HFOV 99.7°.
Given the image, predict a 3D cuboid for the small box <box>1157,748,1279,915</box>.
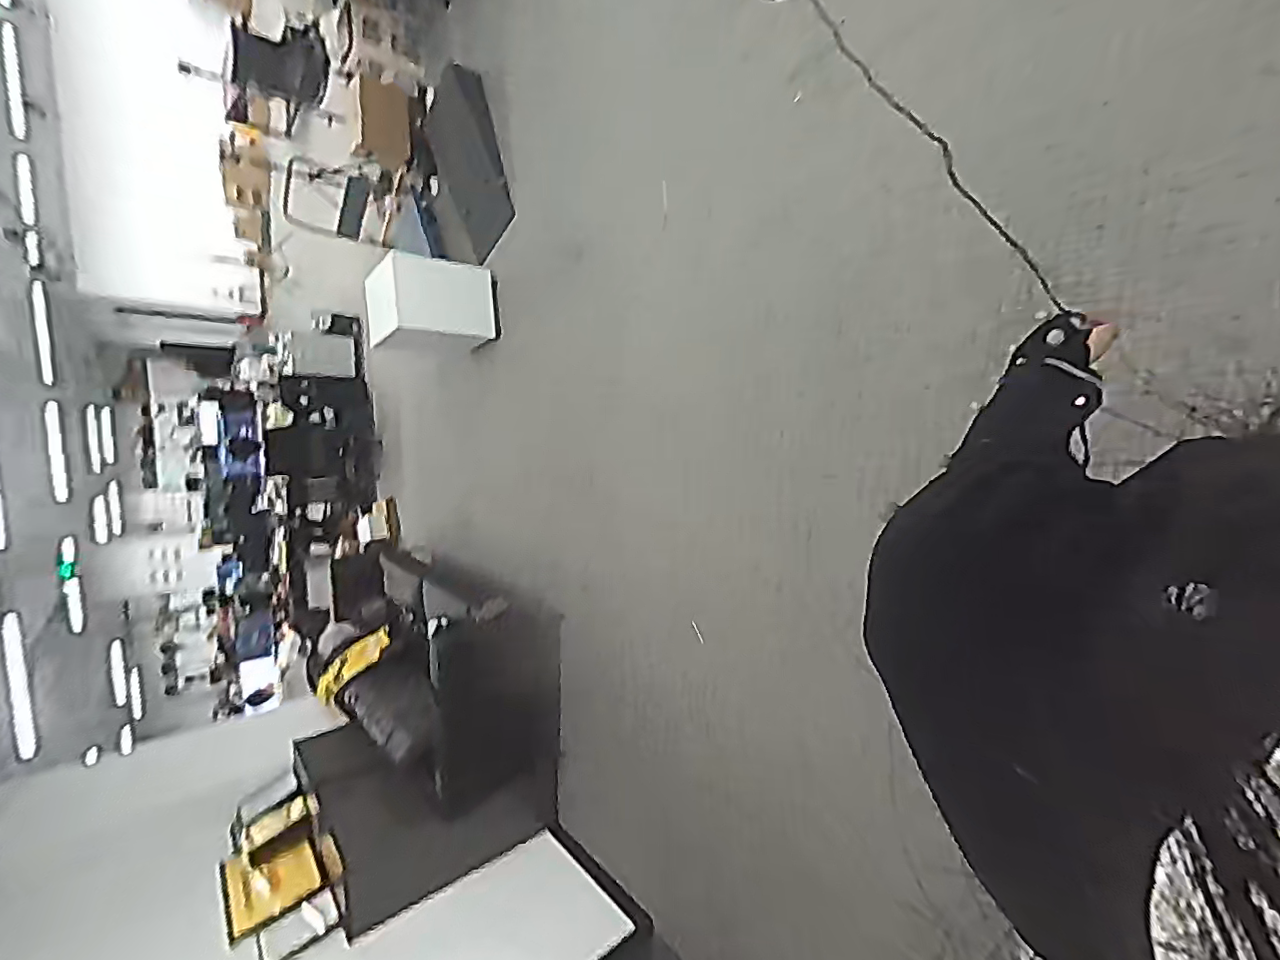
[{"bbox_3d":[1.137,0.662,1.042,0.168,0.176,0.179,13,104,48],"label":"small box"}]
